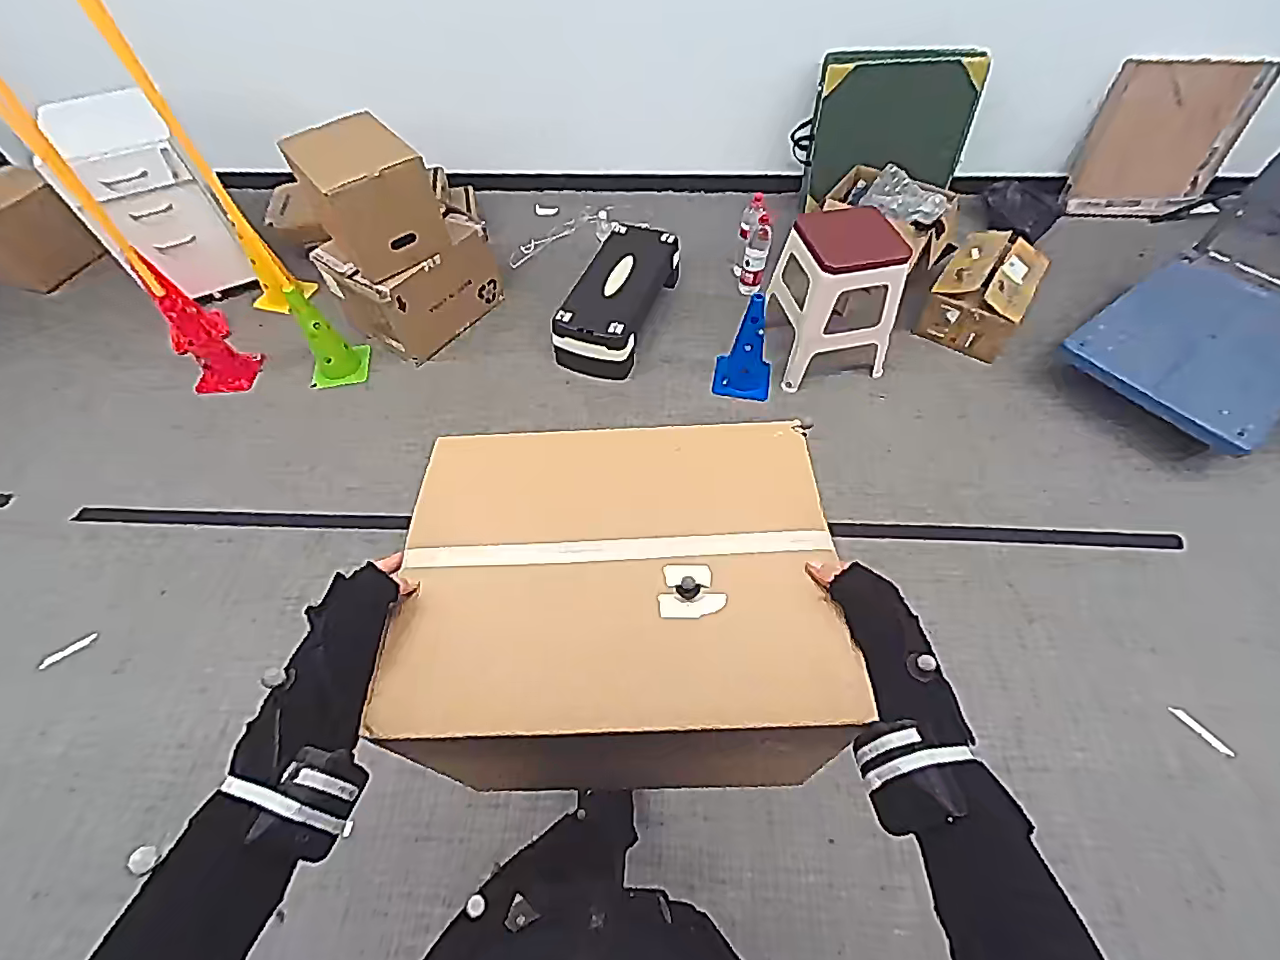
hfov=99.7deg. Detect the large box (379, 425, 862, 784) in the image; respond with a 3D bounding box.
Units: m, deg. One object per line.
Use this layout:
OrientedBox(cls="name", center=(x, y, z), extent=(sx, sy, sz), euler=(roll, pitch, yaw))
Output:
OrientedBox(cls="large box", center=(-0.015, 0.158, 0.644), extent=(0.408, 0.320, 0.320), euler=(-2, 53, 2))
